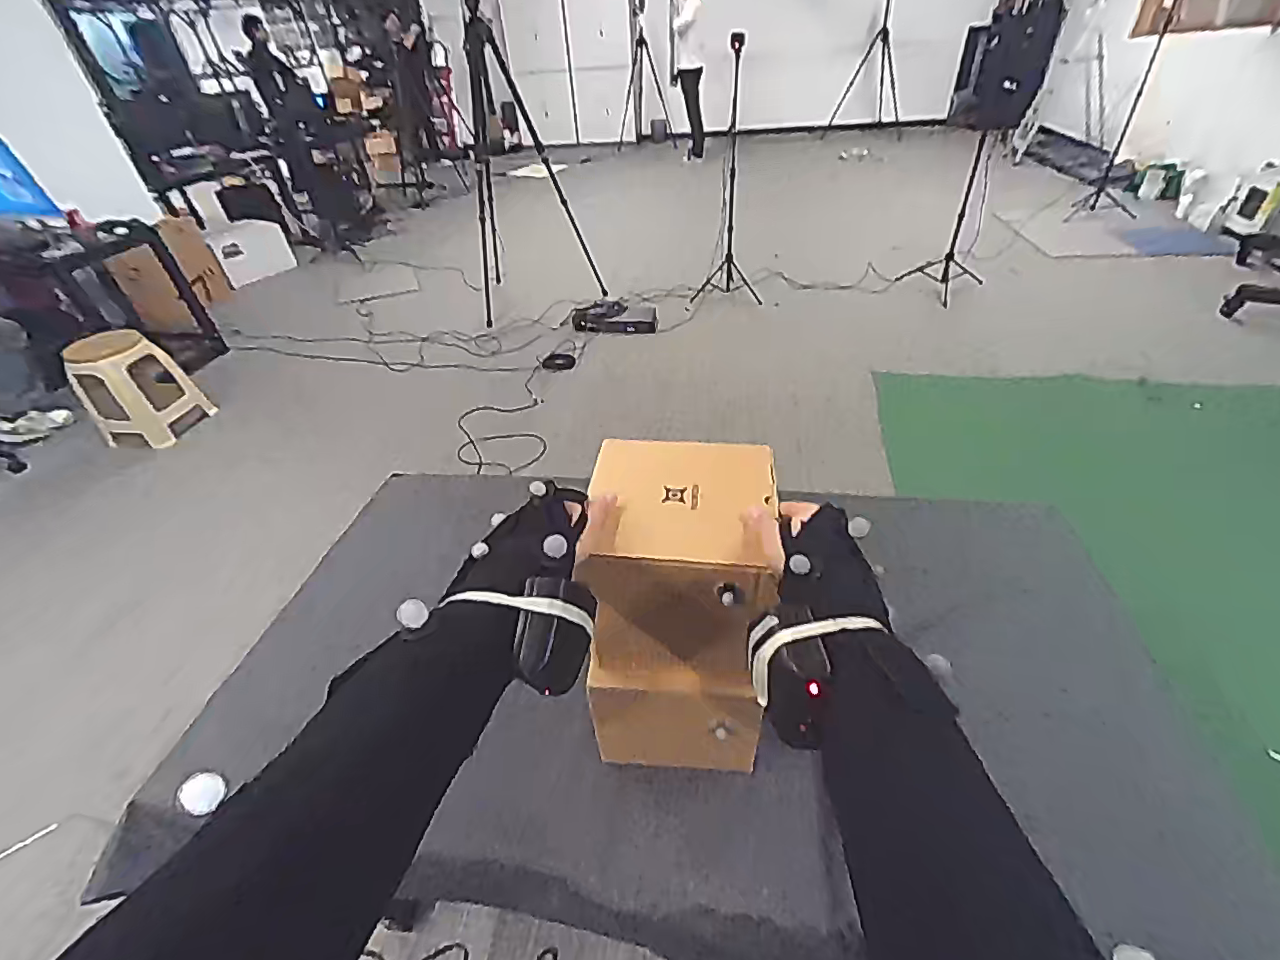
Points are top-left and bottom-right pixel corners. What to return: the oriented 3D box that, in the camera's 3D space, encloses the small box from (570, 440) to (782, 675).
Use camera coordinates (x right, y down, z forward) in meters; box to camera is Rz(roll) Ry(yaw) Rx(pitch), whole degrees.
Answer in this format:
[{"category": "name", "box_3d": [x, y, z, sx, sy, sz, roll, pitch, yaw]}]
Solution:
[{"category": "small box", "box_3d": [0.042, 0.076, 0.545, 0.179, 0.176, 0.168, 3, 39, 8]}]
